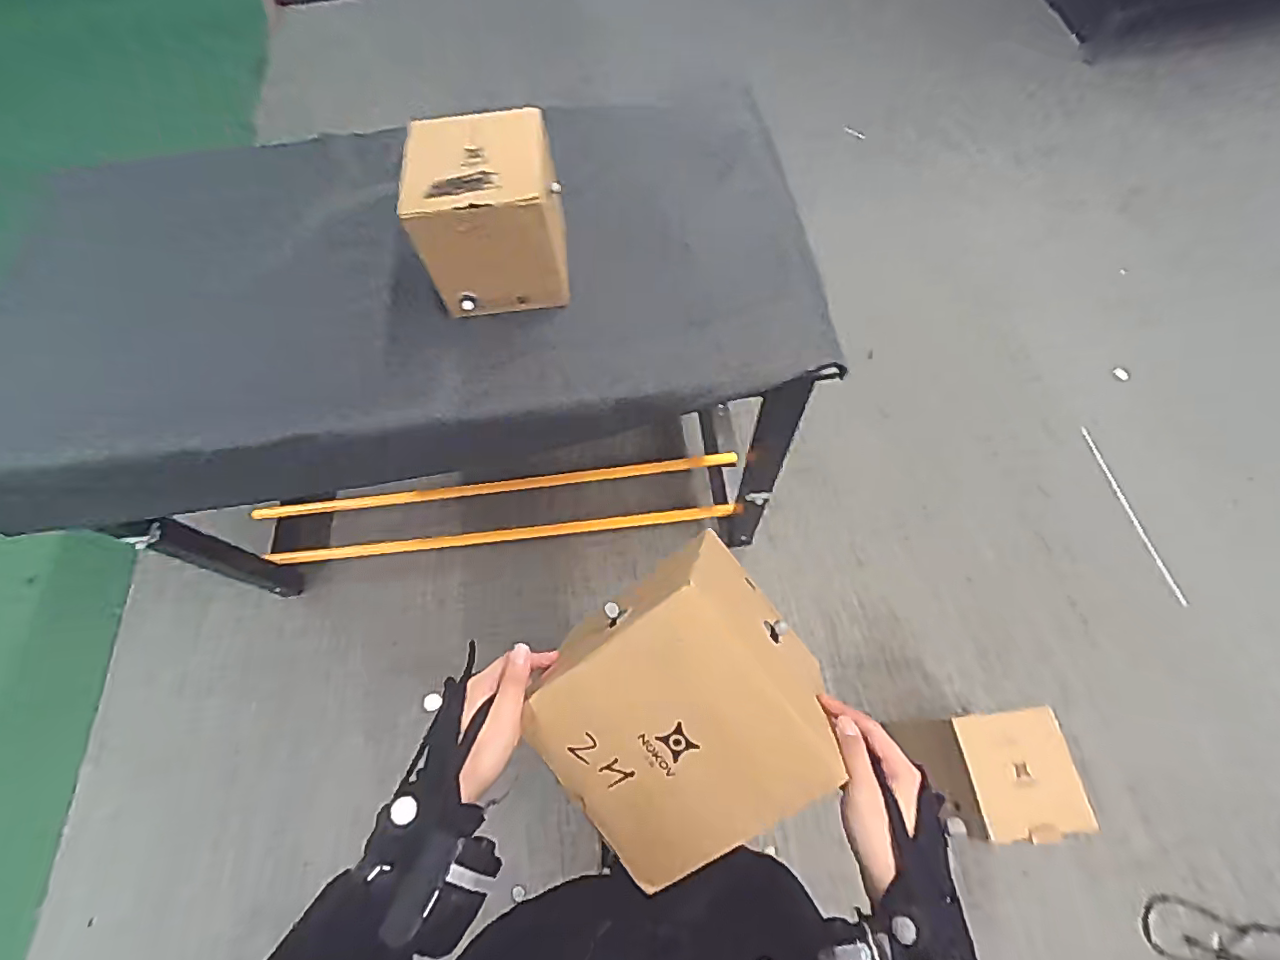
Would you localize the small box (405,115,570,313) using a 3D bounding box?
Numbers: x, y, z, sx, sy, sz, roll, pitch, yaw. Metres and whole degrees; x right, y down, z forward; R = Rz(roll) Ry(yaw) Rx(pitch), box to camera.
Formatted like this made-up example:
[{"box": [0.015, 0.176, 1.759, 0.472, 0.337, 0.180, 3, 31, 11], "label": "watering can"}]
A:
[{"box": [-0.189, -0.342, 0.721, 0.168, 0.176, 0.179, -6, 63, 0], "label": "small box"}]

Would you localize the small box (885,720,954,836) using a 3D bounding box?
[{"box": [0.601, 0.566, 1.045, 0.168, 0.176, 0.179, -5, 66, 1], "label": "small box"}]

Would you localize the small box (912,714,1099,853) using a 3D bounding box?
[{"box": [0.589, 0.494, 0.900, 0.168, 0.176, 0.179, -7, 63, -1], "label": "small box"}]
